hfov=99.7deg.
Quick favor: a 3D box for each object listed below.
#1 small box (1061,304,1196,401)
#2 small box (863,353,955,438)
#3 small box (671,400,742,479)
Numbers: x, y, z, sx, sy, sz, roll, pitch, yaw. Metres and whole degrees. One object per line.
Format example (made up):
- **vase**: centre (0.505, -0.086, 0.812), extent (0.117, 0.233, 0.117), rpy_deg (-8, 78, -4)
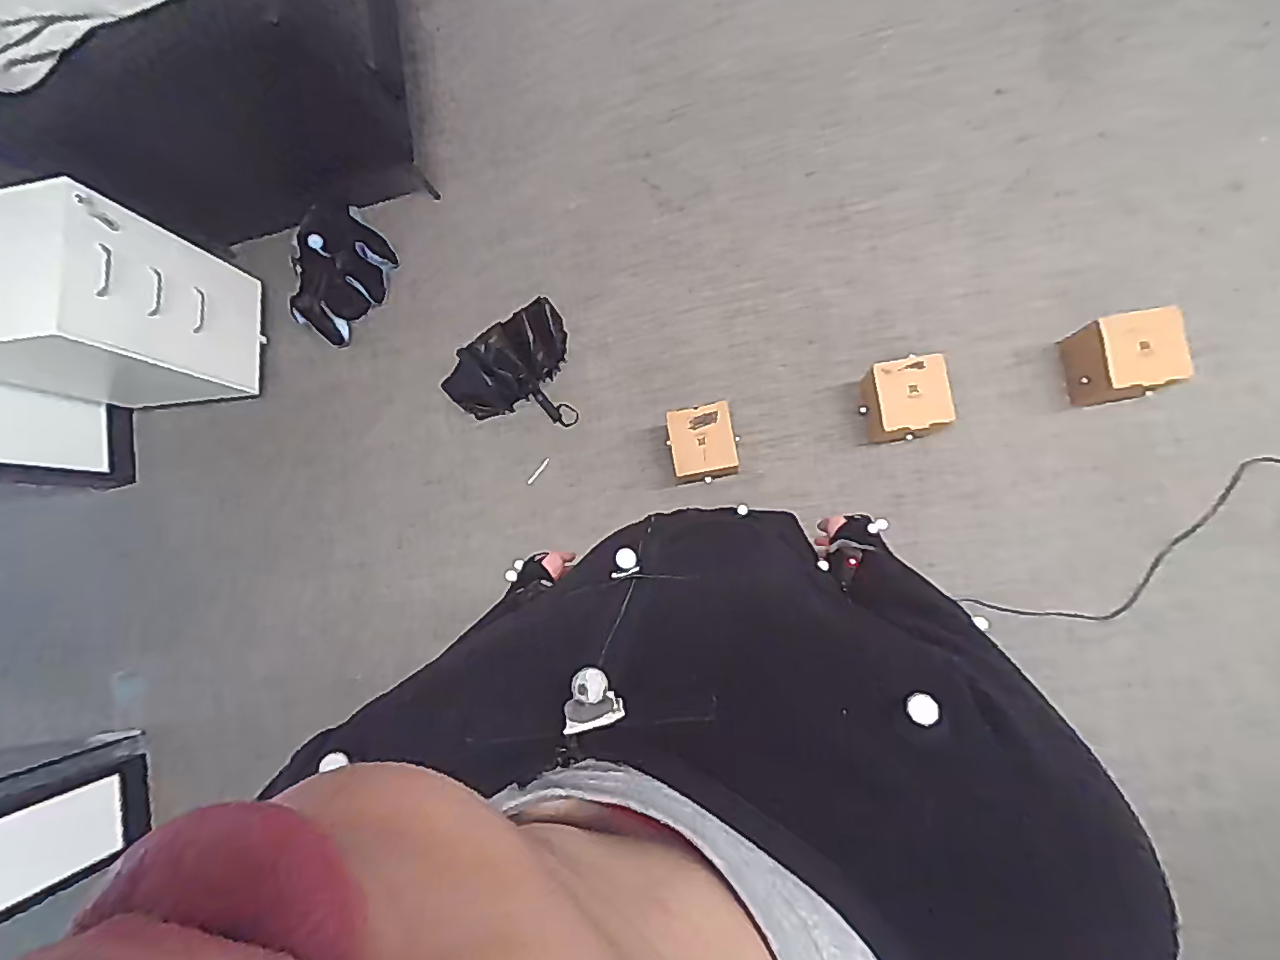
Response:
- **small box**: centre (1.176, -0.299, 1.317), extent (0.168, 0.176, 0.179), rpy_deg (-8, 82, 10)
- **small box**: centre (0.692, -0.211, 1.408), extent (0.168, 0.176, 0.179), rpy_deg (-8, 84, 11)
- **small box**: centre (0.187, -0.106, 1.499), extent (0.168, 0.176, 0.179), rpy_deg (-10, 84, 11)
